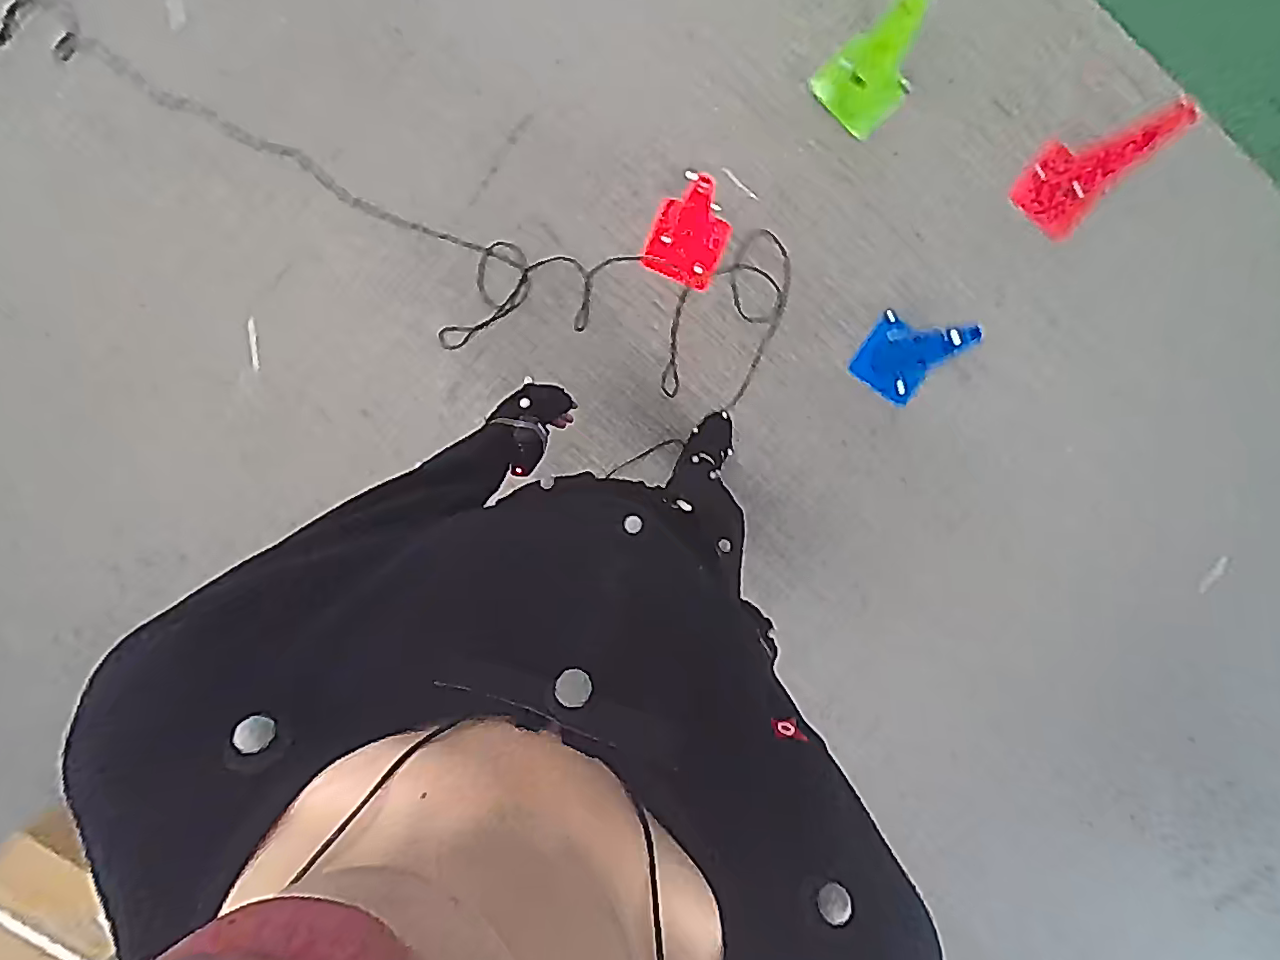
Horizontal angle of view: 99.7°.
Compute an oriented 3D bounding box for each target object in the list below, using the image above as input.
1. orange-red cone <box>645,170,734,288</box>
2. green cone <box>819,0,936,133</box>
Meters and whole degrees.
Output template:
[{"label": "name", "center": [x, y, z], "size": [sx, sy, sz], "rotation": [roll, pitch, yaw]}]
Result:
[{"label": "orange-red cone", "center": [0.141, -0.633, 1.290], "size": [0.198, 0.360, 0.199], "rotation": [24, 92, -4]}, {"label": "green cone", "center": [0.605, -1.045, 1.266], "size": [0.202, 0.368, 0.200], "rotation": [-45, 93, 3]}]
